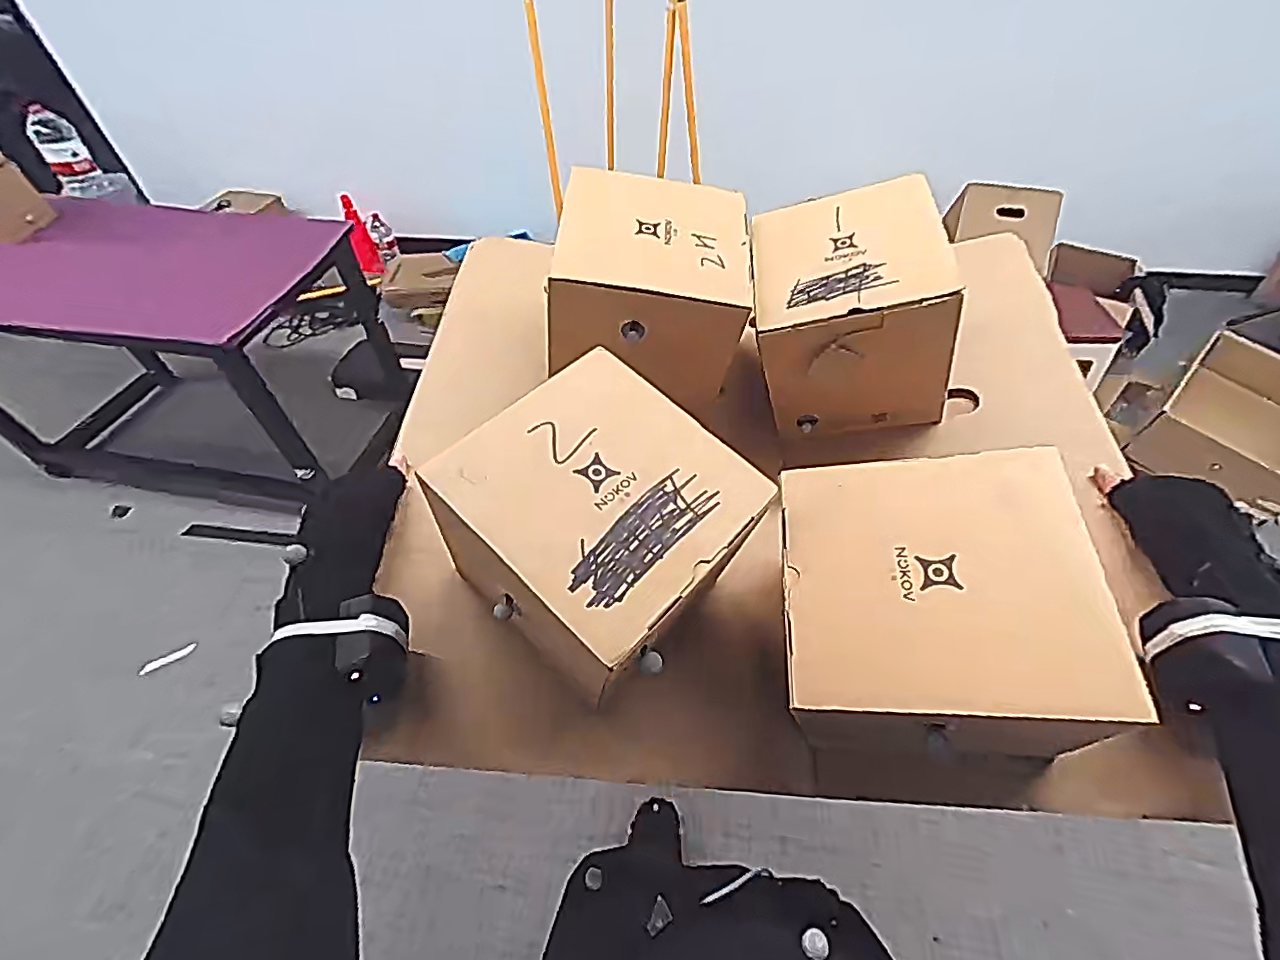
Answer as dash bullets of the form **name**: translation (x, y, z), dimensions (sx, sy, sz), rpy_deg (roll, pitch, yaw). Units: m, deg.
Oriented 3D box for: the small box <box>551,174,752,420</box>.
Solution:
- **small box**: translation (0.007, -0.181, 0.565), dimensions (0.179, 0.176, 0.168), rpy_deg (8, 59, -5)
